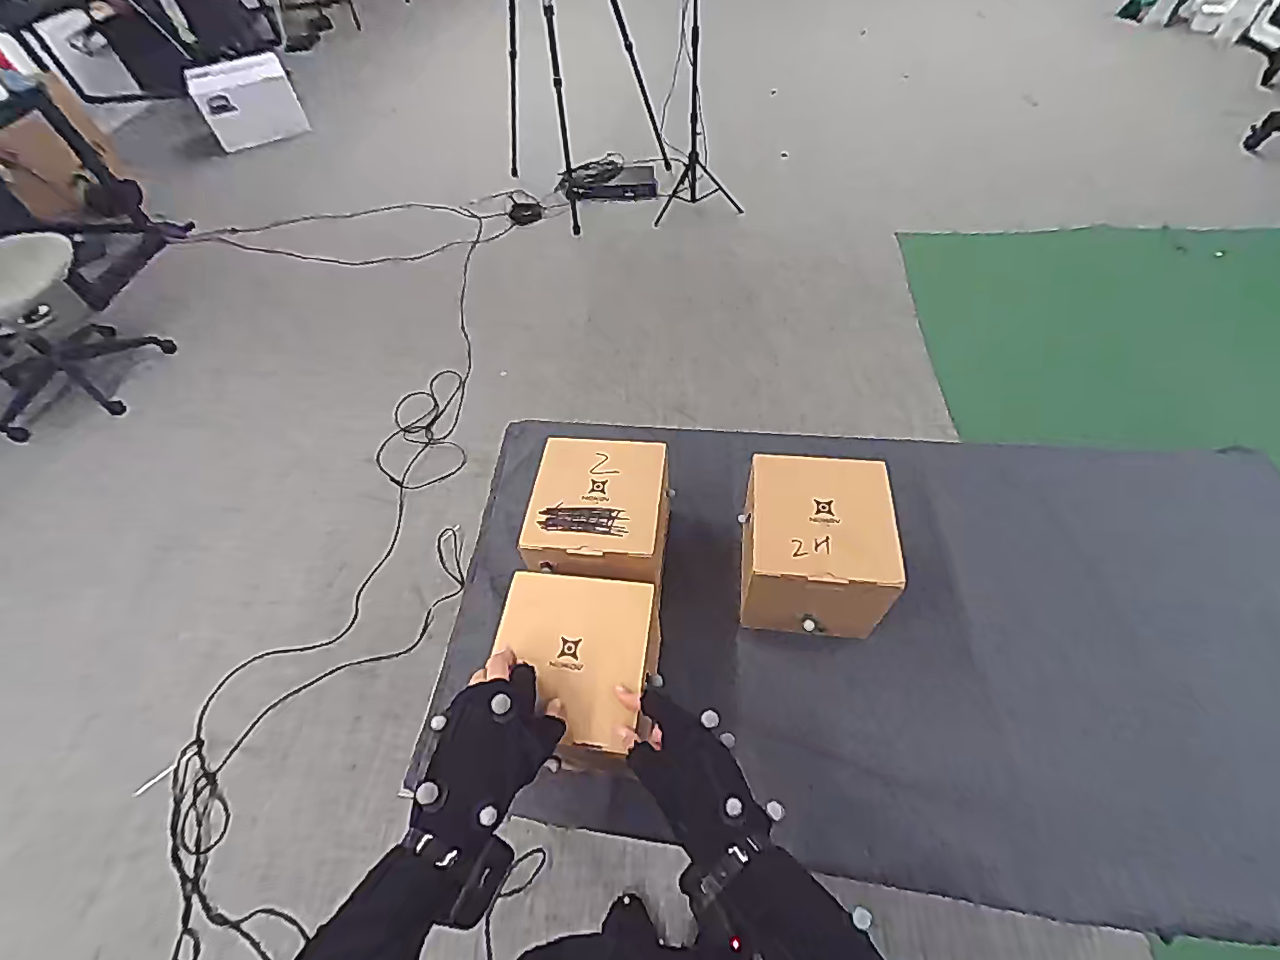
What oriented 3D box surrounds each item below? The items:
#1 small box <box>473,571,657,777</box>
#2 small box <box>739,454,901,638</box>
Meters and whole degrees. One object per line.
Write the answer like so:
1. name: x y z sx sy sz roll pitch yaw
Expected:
1. small box: -0.070 0.229 0.634 0.168 0.176 0.179 4 55 7
2. small box: 0.222 0.089 0.714 0.168 0.176 0.179 4 55 7
